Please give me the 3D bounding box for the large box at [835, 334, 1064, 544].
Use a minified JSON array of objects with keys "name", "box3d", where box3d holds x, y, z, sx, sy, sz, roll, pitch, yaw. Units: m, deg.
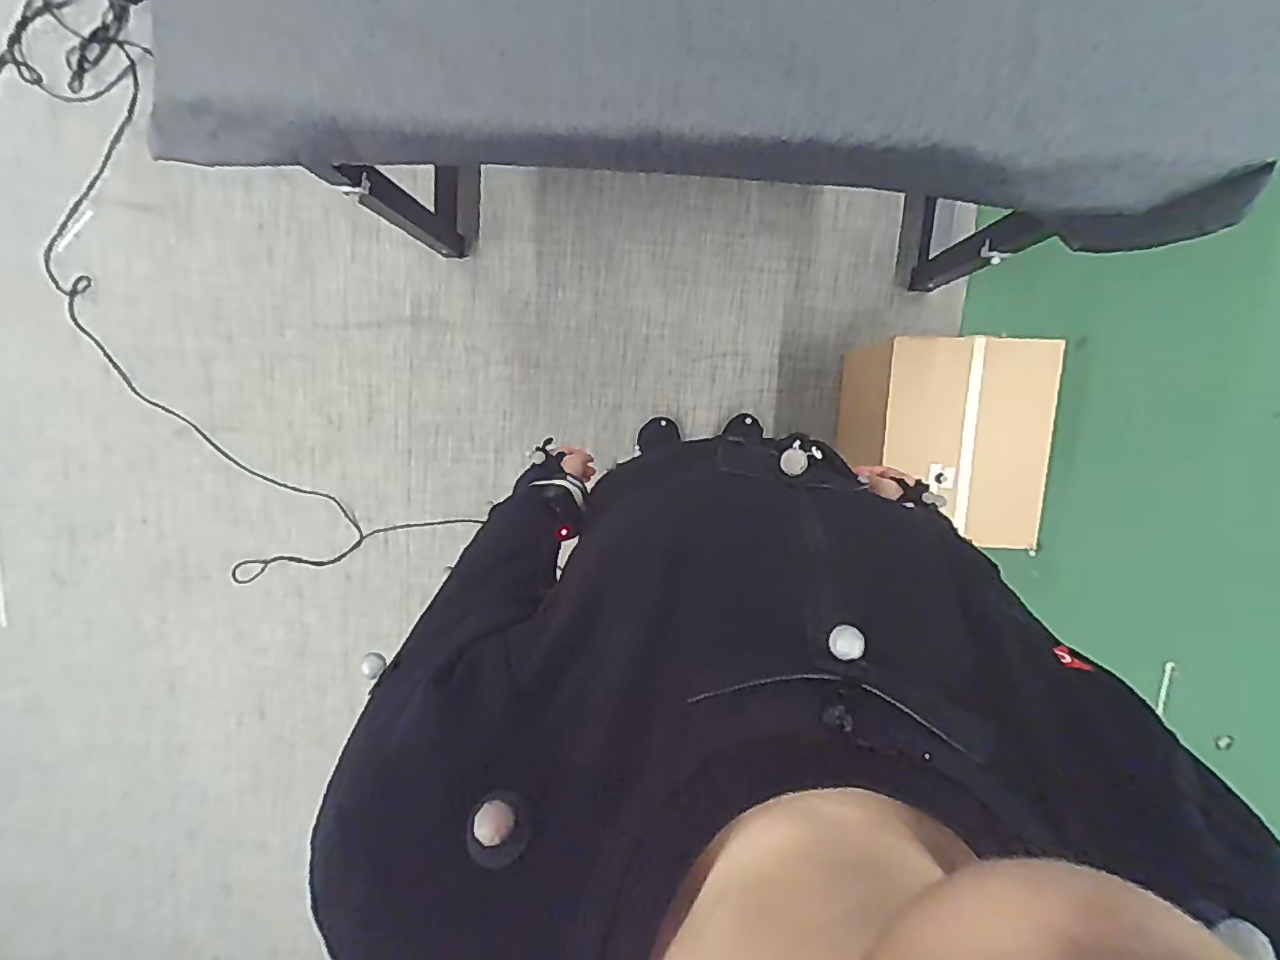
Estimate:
[{"name":"large box","box3d":[0.633,-0.097,1.174,0.320,0.320,0.408,2,99,4]}]
